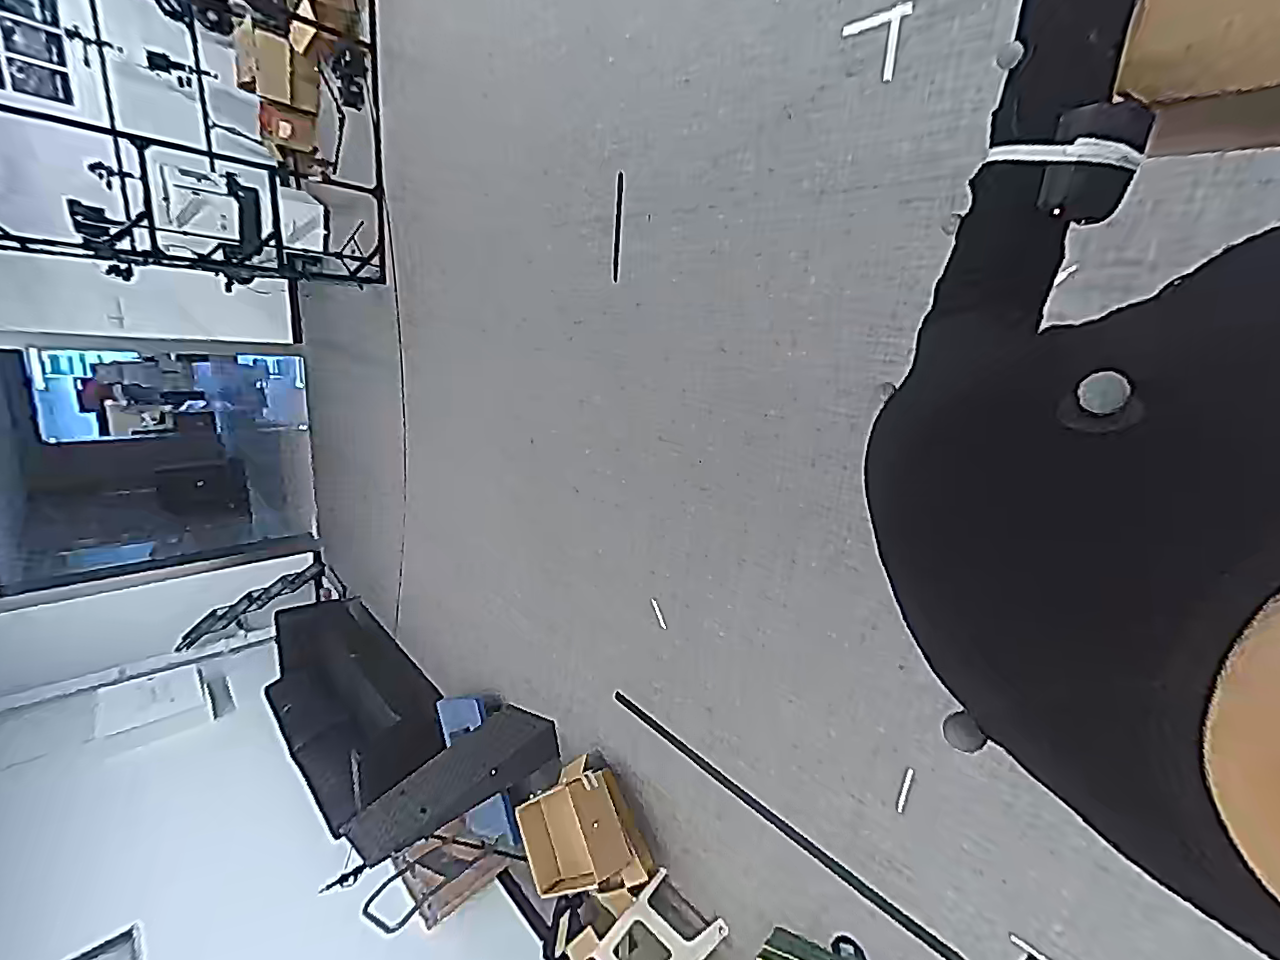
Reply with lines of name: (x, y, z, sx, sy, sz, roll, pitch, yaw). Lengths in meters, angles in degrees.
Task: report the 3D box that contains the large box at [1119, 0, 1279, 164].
large box: (0.561, -0.389, 0.286, 0.408, 0.320, 0.320, 17, 119, 41)
